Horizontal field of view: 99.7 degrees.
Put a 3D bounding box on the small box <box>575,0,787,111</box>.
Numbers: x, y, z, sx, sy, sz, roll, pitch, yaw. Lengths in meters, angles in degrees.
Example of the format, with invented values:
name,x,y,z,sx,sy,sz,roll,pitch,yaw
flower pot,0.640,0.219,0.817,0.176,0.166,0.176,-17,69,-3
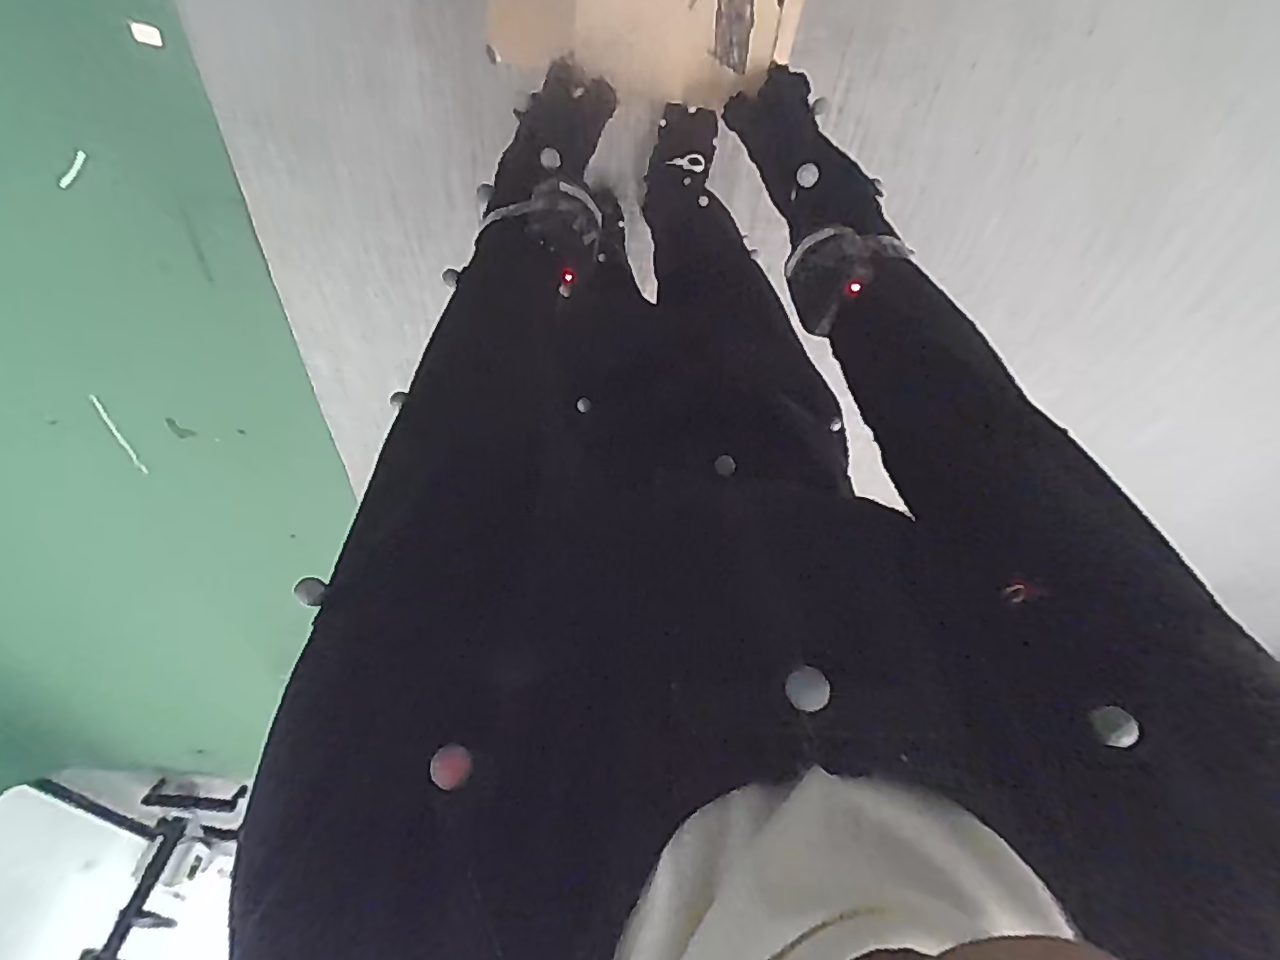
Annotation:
name,x,y,z,sx,sy,sz,roll,pitch,yaw
small box,0.039,-0.459,0.496,0.179,0.176,0.168,6,131,-2
